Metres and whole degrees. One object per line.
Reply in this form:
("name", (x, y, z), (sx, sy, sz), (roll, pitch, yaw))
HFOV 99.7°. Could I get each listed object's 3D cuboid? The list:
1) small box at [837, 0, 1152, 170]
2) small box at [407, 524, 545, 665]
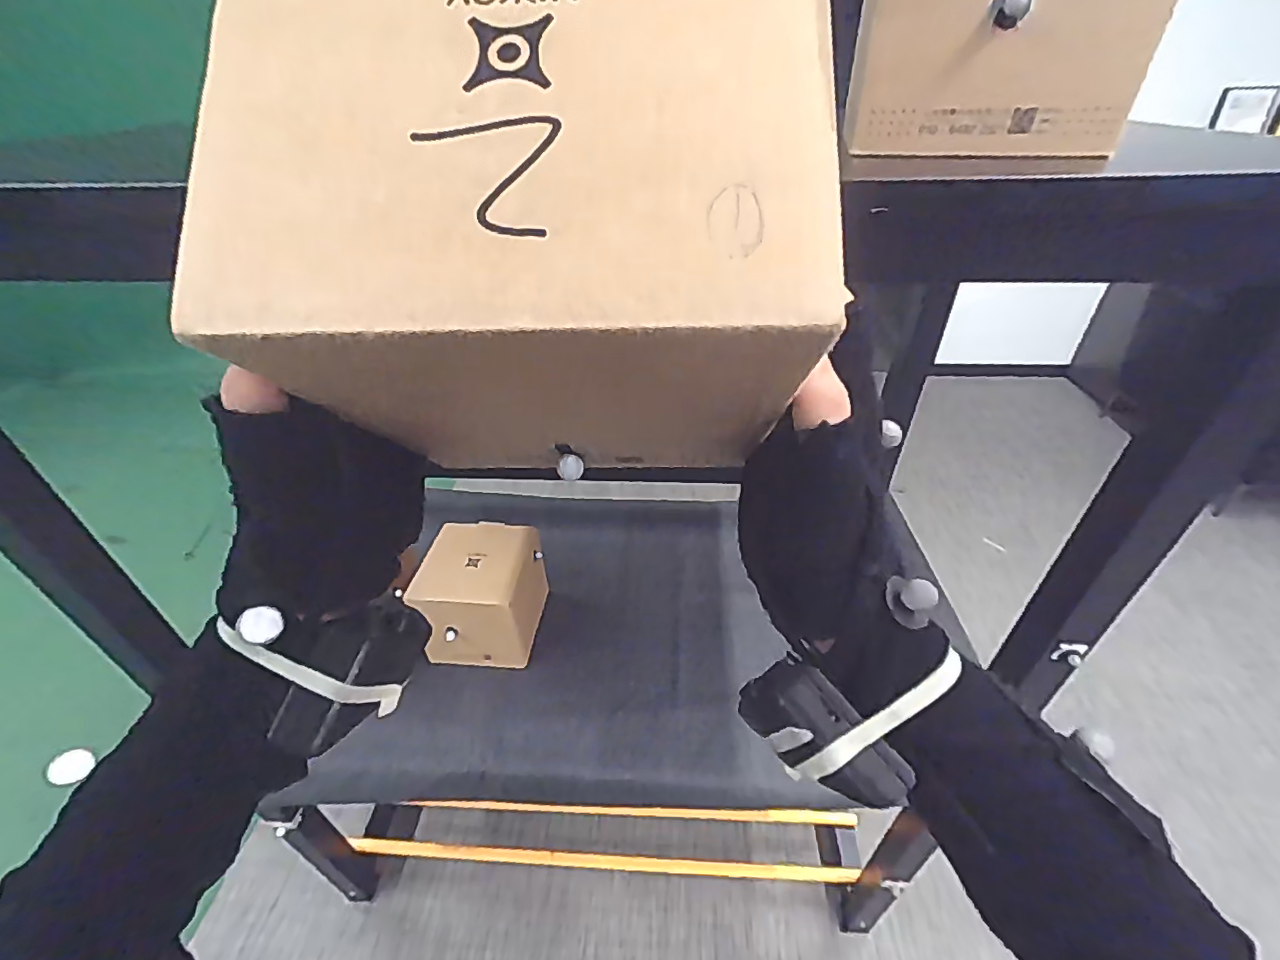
("small box", (0.249, -0.336, 0.401), (0.168, 0.176, 0.179), (8, 37, 12))
("small box", (-0.266, 0.196, 0.927), (0.168, 0.176, 0.179), (2, 37, 4))
